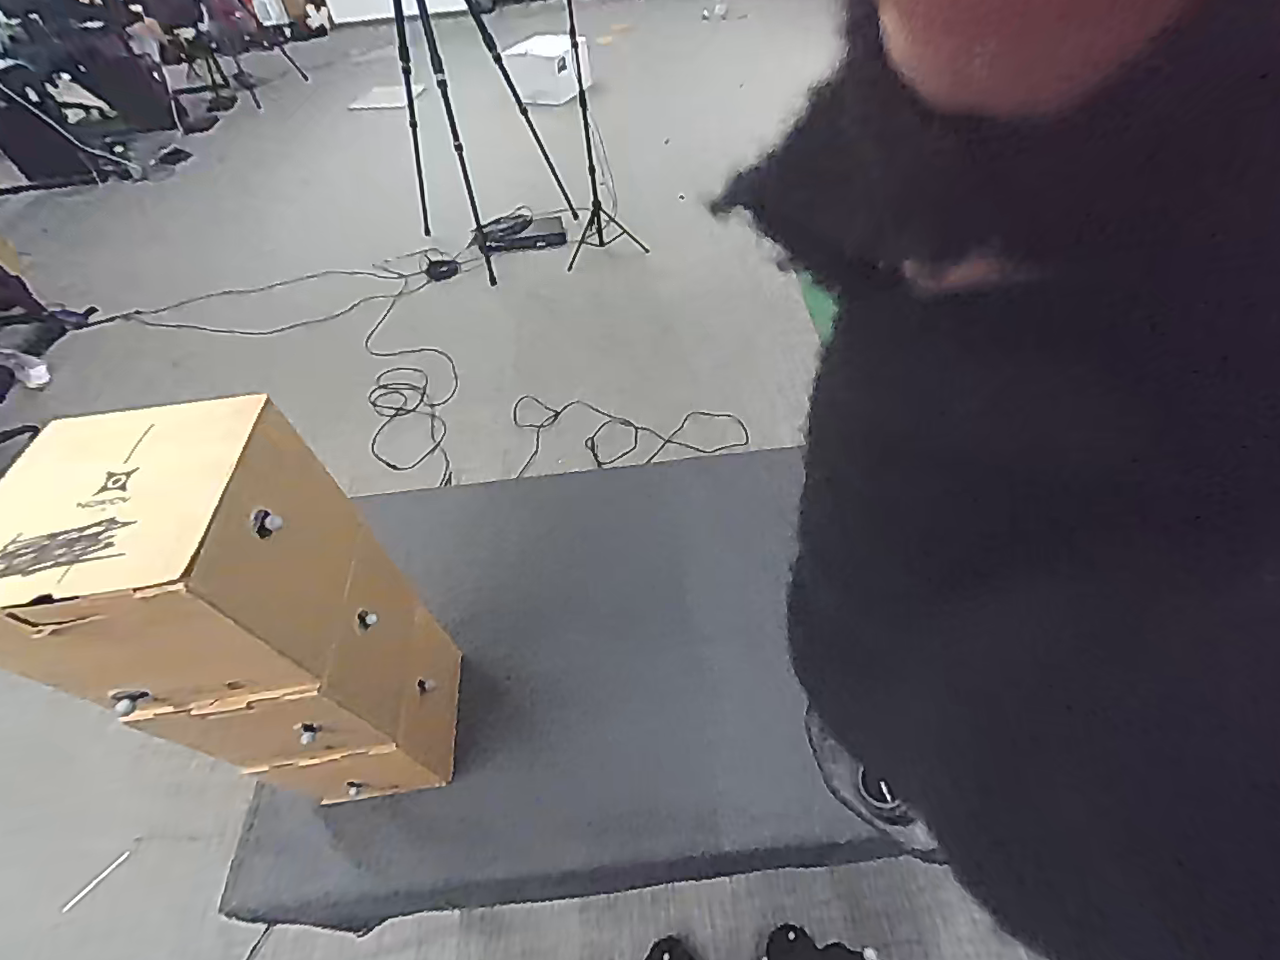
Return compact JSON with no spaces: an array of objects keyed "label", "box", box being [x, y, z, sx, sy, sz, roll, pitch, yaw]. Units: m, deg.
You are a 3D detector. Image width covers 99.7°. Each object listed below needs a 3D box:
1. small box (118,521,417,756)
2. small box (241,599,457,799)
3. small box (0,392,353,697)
[{"label":"small box","box":[-0.346,0.168,0.552,0.168,0.176,0.179,-7,50,-2]},{"label":"small box","box":[-0.338,0.274,0.675,0.168,0.176,0.179,-8,51,-2]},{"label":"small box","box":[-0.358,0.058,0.430,0.168,0.176,0.179,-8,50,-3]}]
